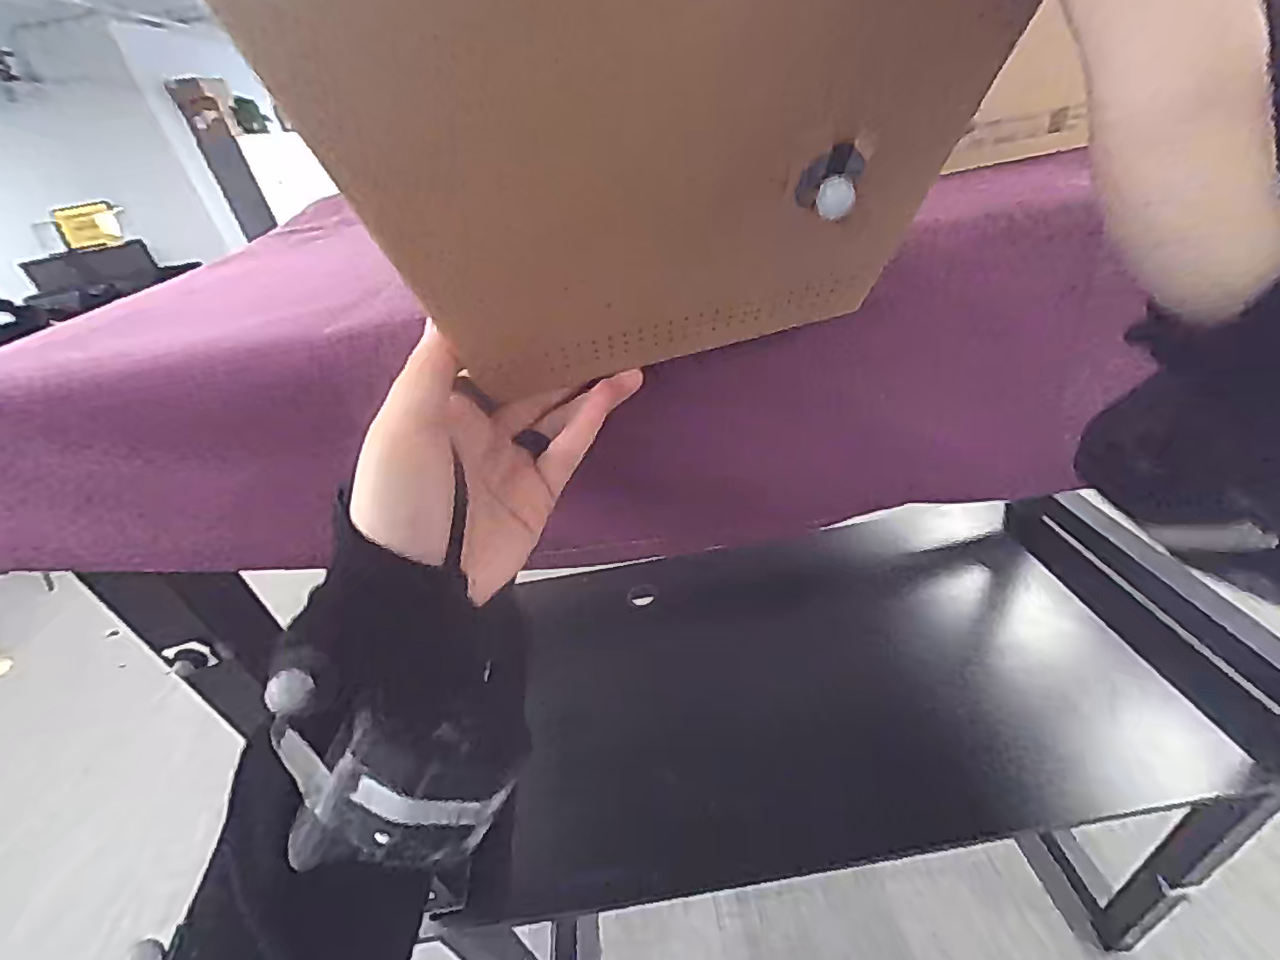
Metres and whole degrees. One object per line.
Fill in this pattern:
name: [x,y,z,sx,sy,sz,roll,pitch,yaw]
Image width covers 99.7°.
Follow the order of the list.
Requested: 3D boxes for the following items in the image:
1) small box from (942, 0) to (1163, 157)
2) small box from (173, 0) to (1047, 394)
small box: [0.223,-0.325,0.376,0.168,0.176,0.179,-13,33,-4]
small box: [-0.008,-0.150,0.177,0.179,0.176,0.168,-15,74,-2]
